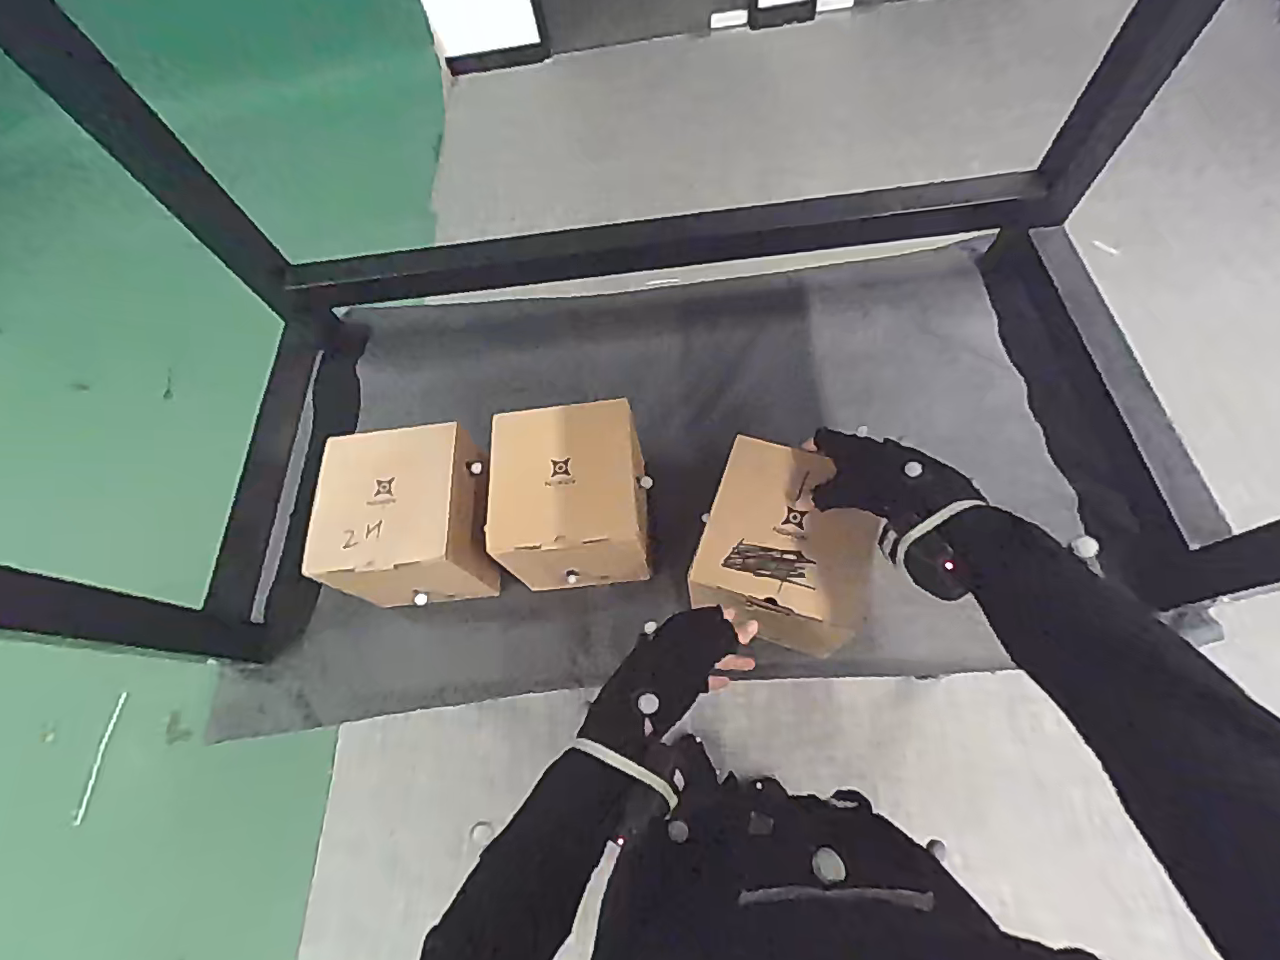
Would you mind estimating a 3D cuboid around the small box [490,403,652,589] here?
[{"bbox_3d":[-0.077,0.027,0.683,0.168,0.176,0.179,-6,65,4],"label":"small box"}]

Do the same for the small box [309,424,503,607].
[{"bbox_3d":[-0.279,0.052,0.694,0.168,0.176,0.179,-7,64,4],"label":"small box"}]

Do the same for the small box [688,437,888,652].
[{"bbox_3d":[0.164,0.081,0.623,0.168,0.176,0.179,16,66,15],"label":"small box"}]
